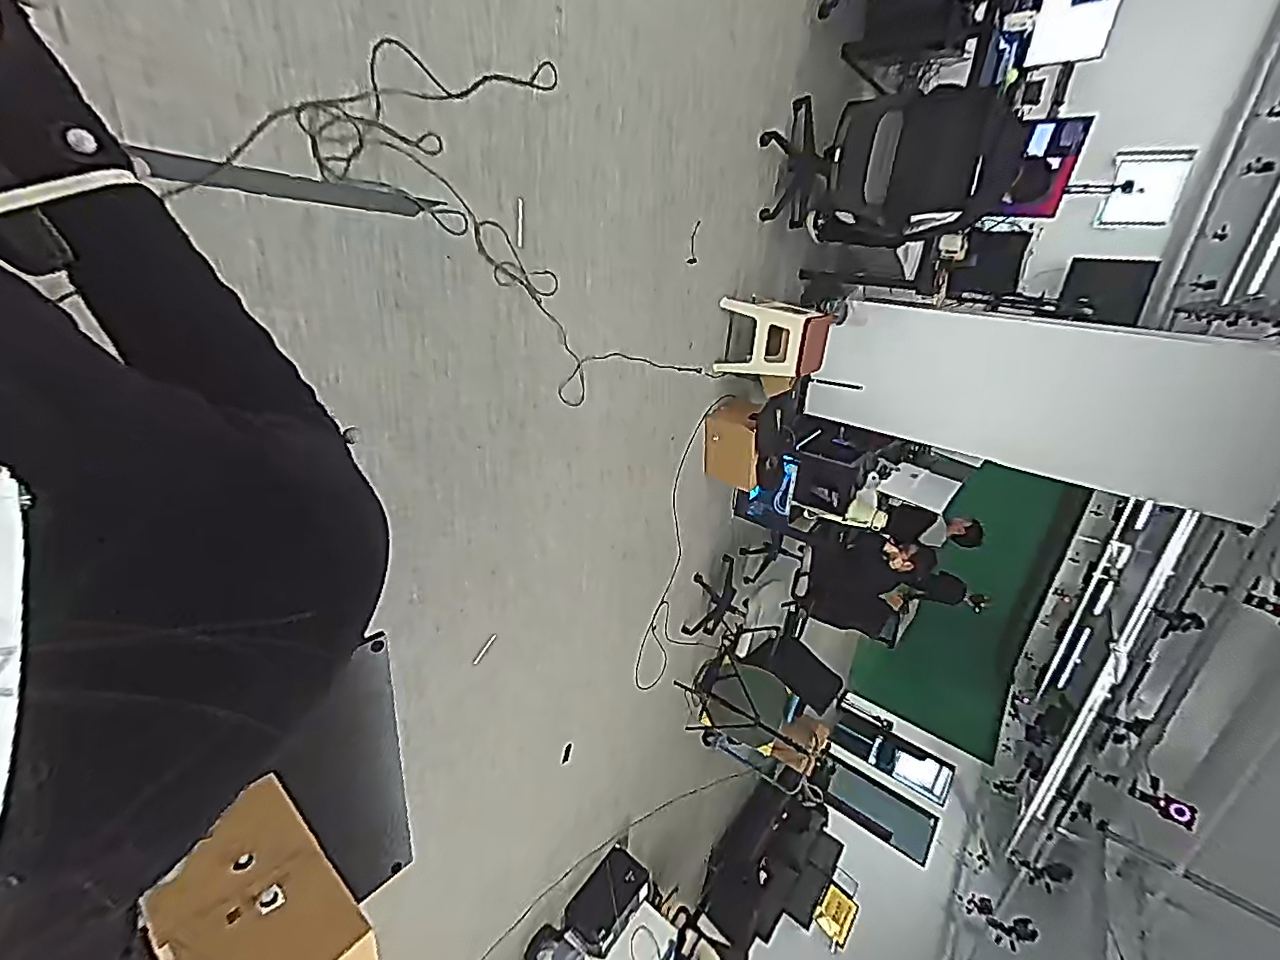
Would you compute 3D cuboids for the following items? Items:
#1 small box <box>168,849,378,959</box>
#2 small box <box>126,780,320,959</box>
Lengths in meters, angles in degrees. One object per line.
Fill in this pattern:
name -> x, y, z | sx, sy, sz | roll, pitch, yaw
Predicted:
small box -> -0.447, 0.621, 0.675 | 0.168, 0.176, 0.179 | -23, 124, -49
small box -> -0.576, 0.575, 0.764 | 0.179, 0.176, 0.168 | -19, 122, -48
